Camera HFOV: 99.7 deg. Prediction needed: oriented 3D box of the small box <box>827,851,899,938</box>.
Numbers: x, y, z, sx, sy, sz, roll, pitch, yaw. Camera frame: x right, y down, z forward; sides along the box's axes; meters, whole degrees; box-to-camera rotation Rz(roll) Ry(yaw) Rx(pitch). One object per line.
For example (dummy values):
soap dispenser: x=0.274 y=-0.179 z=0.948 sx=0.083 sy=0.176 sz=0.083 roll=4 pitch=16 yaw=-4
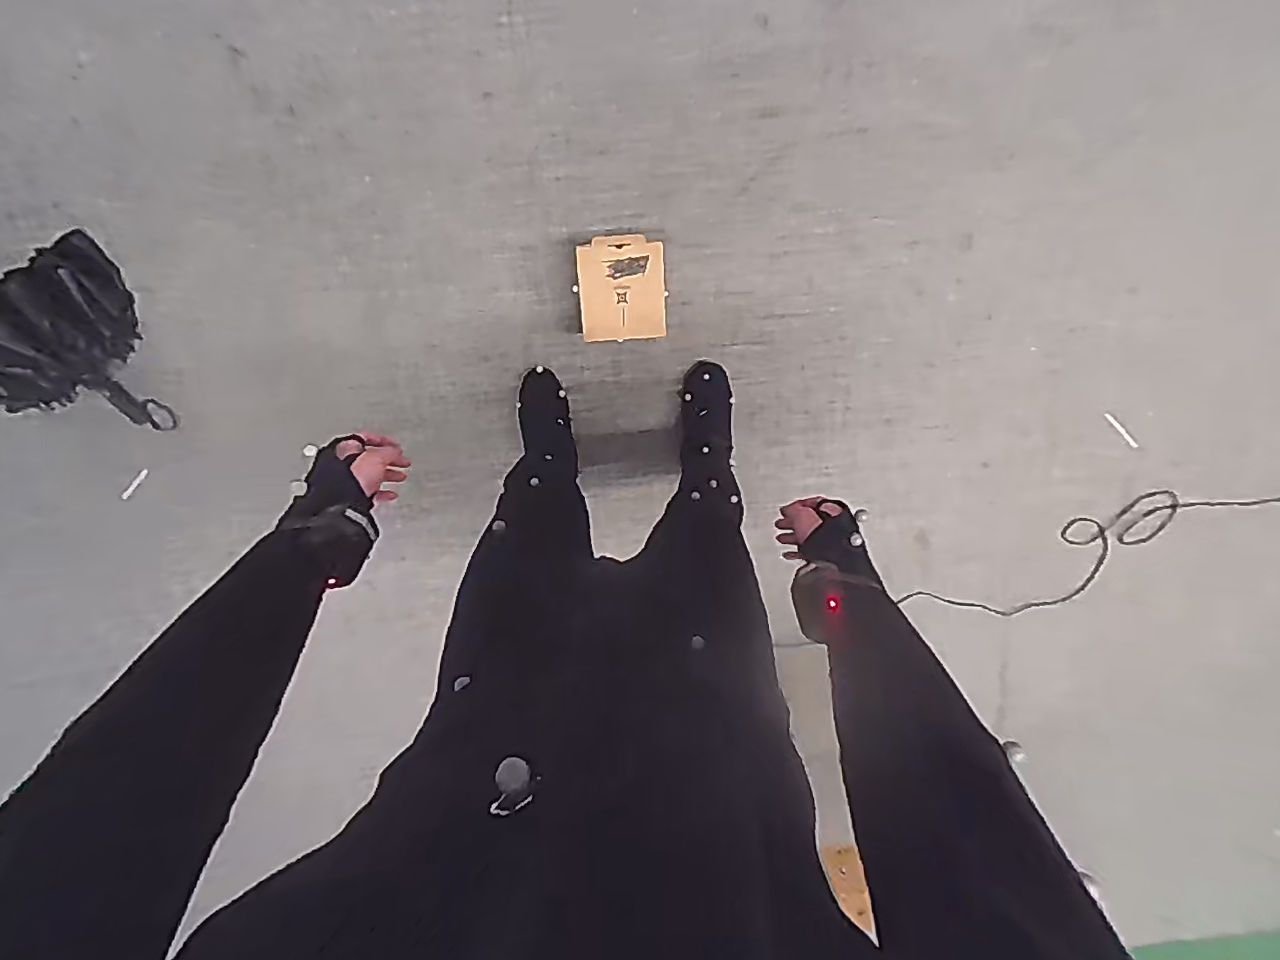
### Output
small box: x=0.726 y=1.354 z=1.777 sx=0.168 sy=0.176 sz=0.179 roll=-3 pitch=111 yaw=0

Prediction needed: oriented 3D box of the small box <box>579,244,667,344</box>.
small box: x=-0.036 y=-0.381 z=1.114 sx=0.168 sy=0.176 sz=0.179 roll=-4 pitch=111 yaw=-1
